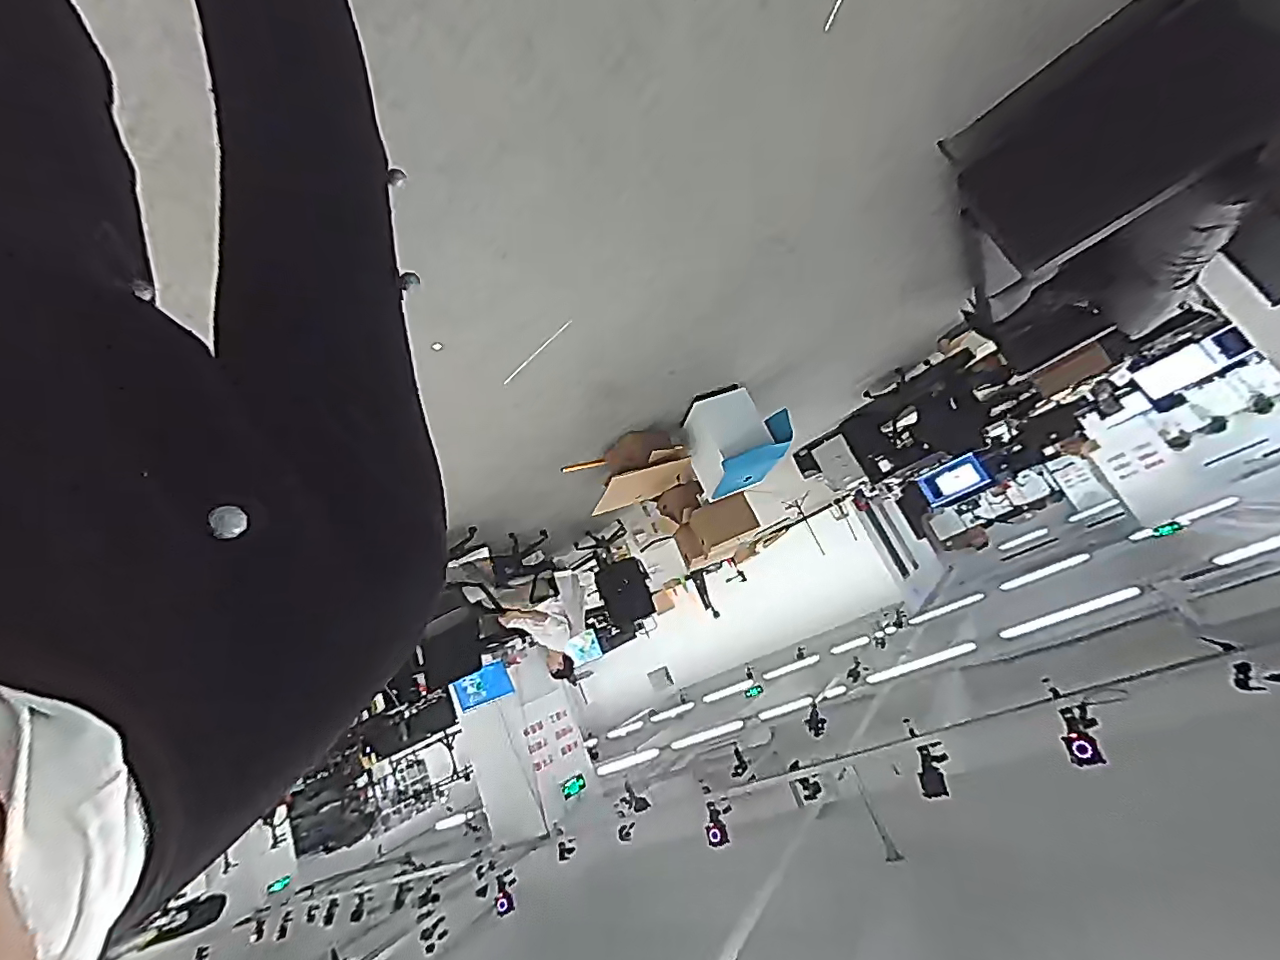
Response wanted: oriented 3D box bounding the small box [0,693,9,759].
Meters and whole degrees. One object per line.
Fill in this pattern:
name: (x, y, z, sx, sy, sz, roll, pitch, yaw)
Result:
small box: (-1.942, 0.728, 1.543, 0.179, 0.176, 0.168, -35, 160, 32)
